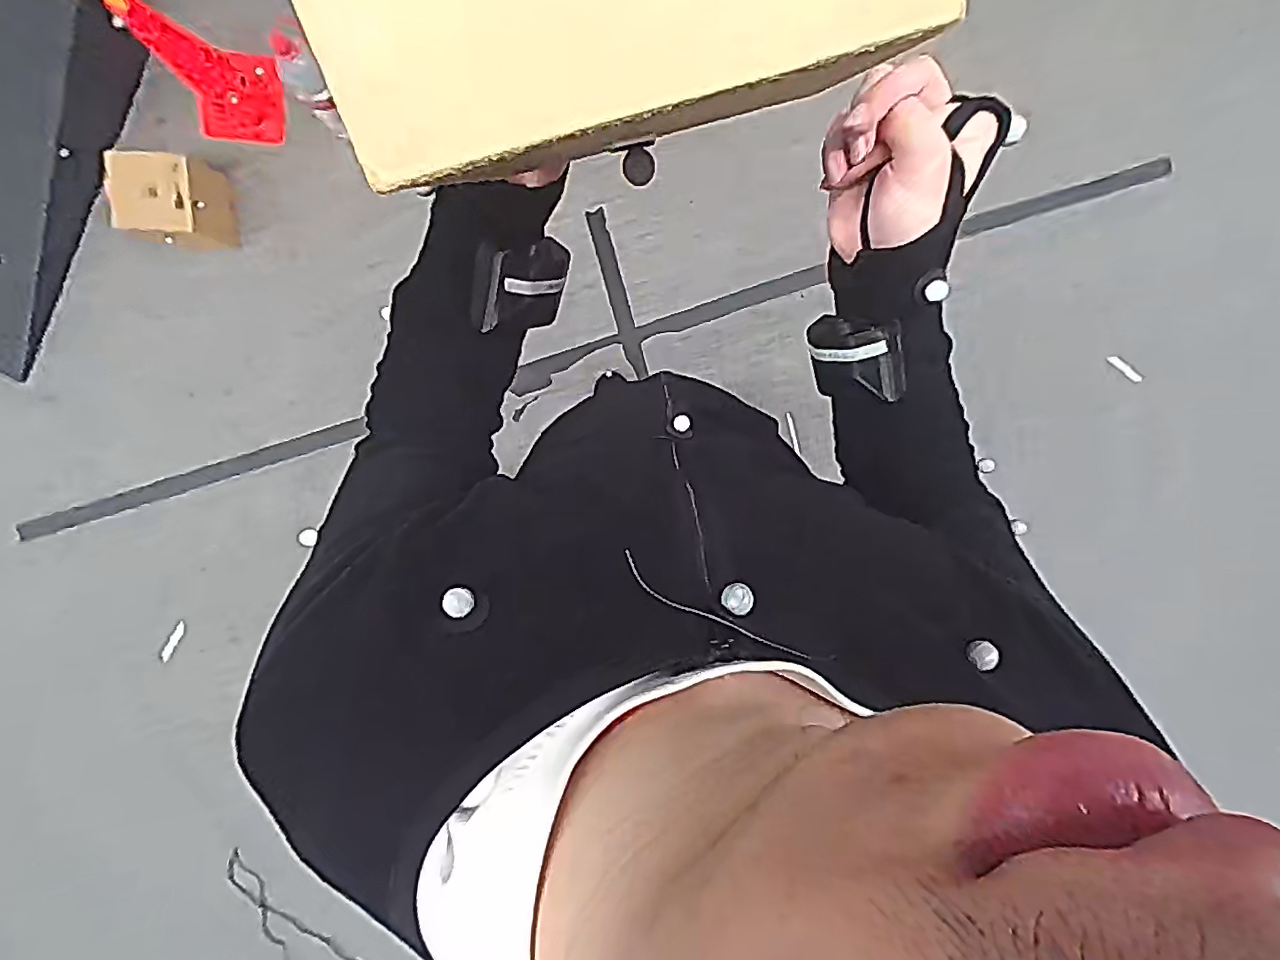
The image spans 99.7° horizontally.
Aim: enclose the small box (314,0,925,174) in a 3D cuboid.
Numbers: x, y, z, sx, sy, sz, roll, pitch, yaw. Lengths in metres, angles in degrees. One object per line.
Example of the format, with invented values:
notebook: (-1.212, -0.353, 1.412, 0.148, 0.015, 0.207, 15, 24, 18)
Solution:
small box: (-0.014, -0.221, 0.188, 0.168, 0.176, 0.179, -8, 120, 10)
